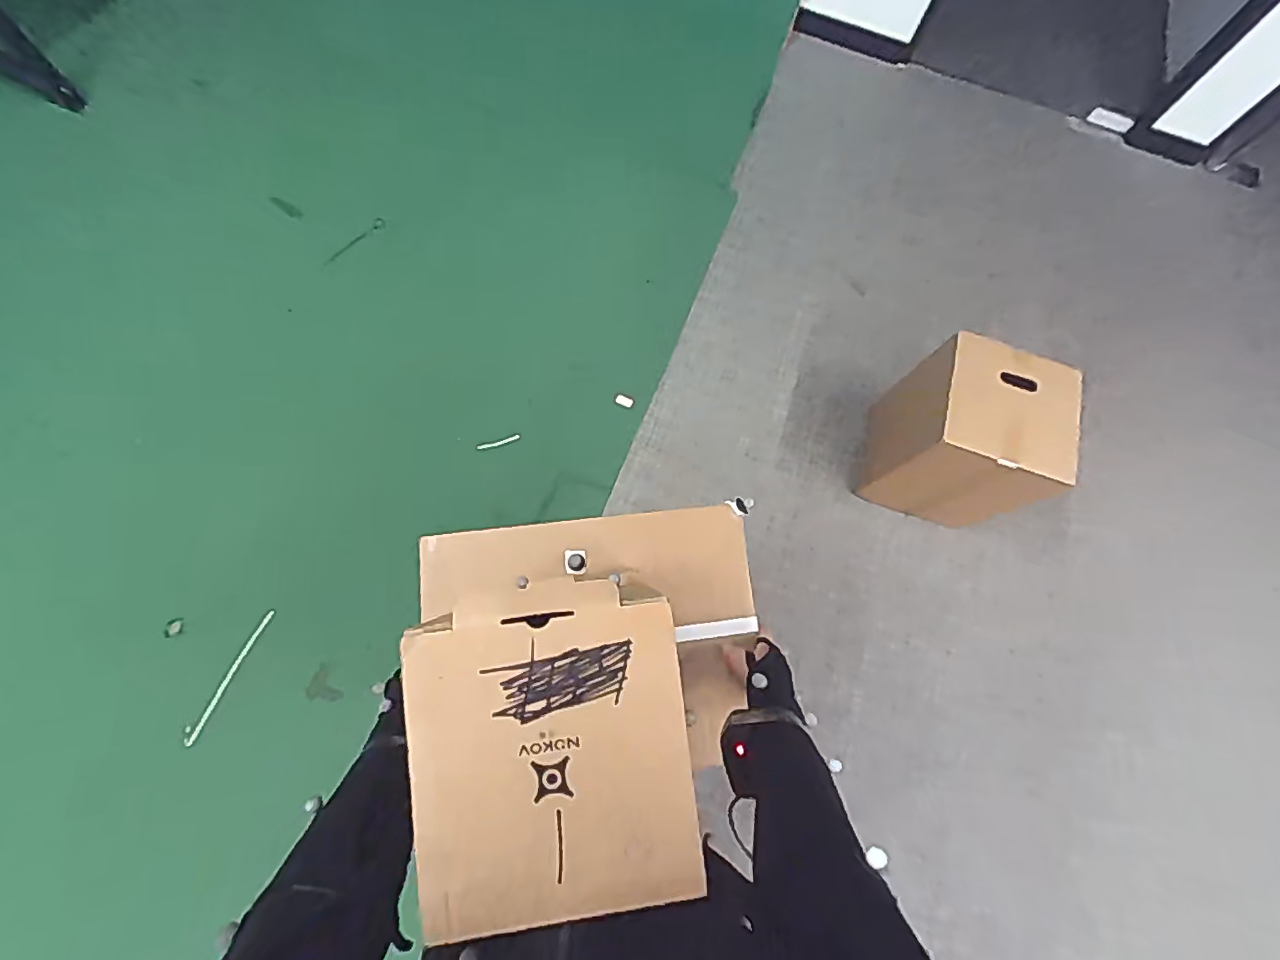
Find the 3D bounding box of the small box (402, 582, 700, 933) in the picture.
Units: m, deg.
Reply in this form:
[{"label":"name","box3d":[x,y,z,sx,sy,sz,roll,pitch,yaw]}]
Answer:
[{"label":"small box","box3d":[-0.059,0.170,0.396,0.168,0.176,0.179,-6,83,-4]}]

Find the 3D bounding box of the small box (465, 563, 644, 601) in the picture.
[{"label":"small box","box3d":[-0.071,0.187,0.559,0.168,0.176,0.179,-10,82,-5]}]
